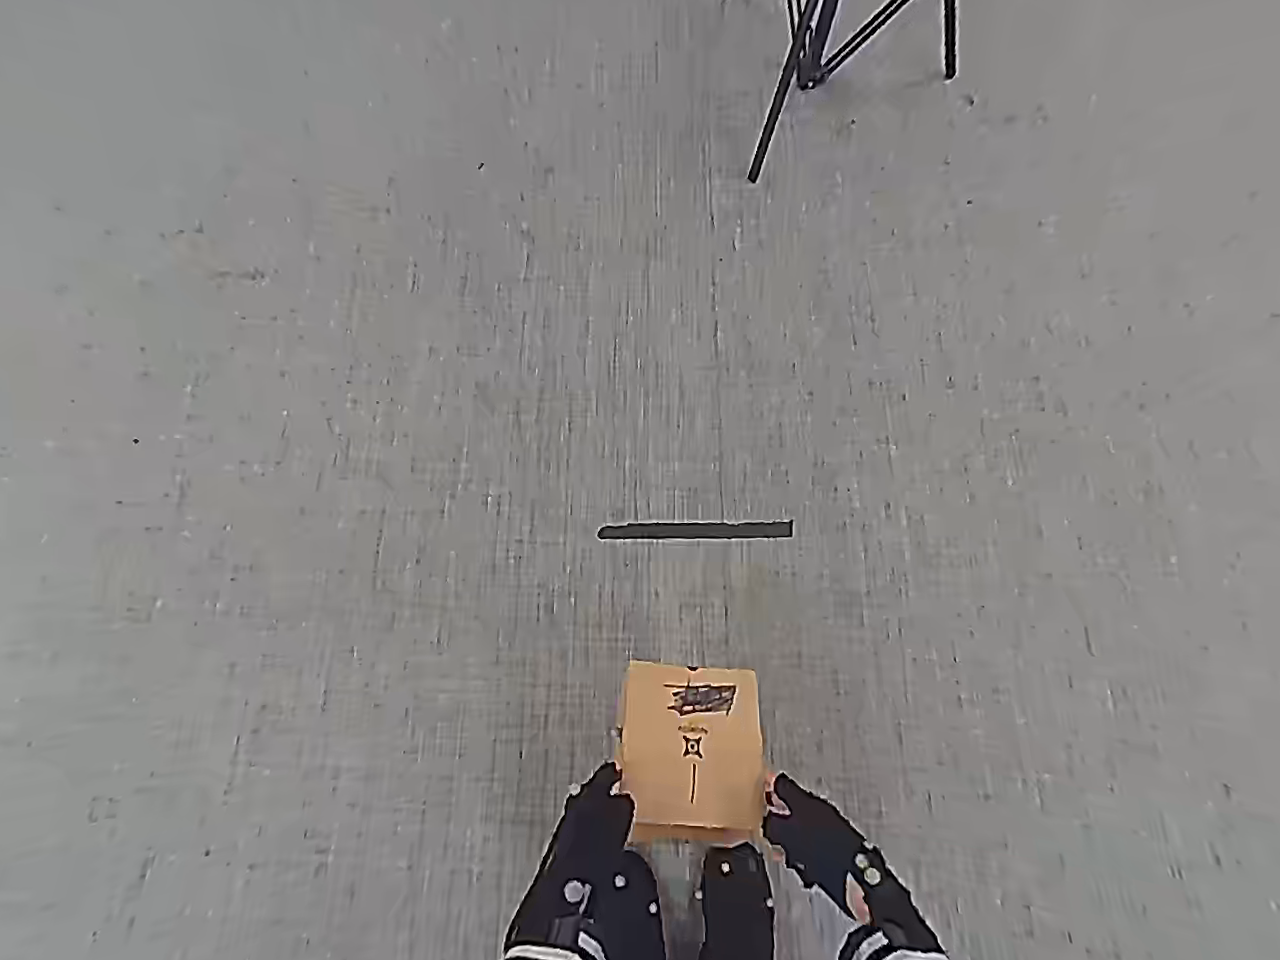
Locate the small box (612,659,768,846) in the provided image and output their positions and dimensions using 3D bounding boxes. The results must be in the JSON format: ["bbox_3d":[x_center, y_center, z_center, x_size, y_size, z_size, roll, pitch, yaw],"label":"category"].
[{"bbox_3d":[0.054,0.351,0.694,0.168,0.176,0.179,5,51,-3],"label":"small box"}]
